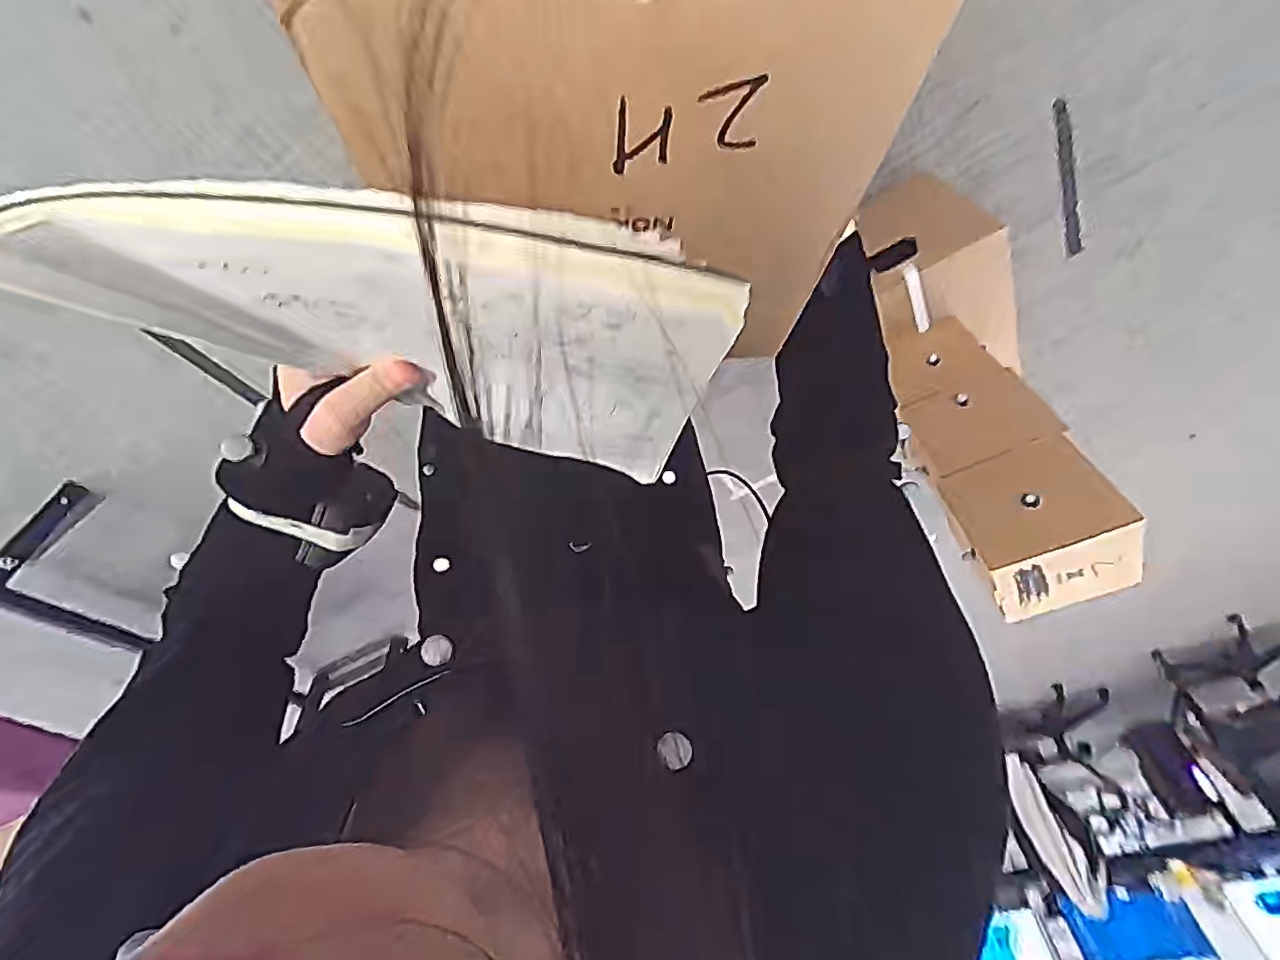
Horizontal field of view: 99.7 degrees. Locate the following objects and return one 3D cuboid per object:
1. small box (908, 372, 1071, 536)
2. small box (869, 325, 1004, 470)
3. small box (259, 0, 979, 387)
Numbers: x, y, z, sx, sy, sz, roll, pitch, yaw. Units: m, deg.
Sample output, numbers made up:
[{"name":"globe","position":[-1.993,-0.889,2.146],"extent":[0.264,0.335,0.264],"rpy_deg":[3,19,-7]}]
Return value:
[{"name":"small box","position":[0.564,-0.043,0.890],"extent":[0.179,0.176,0.168],"rpy_deg":[-24,132,20]},{"name":"small box","position":[0.546,-0.154,1.009],"extent":[0.179,0.176,0.168],"rpy_deg":[-23,132,16]},{"name":"small box","position":[-0.009,-0.154,0.222],"extent":[0.168,0.176,0.179],"rpy_deg":[-3,162,-4]}]
